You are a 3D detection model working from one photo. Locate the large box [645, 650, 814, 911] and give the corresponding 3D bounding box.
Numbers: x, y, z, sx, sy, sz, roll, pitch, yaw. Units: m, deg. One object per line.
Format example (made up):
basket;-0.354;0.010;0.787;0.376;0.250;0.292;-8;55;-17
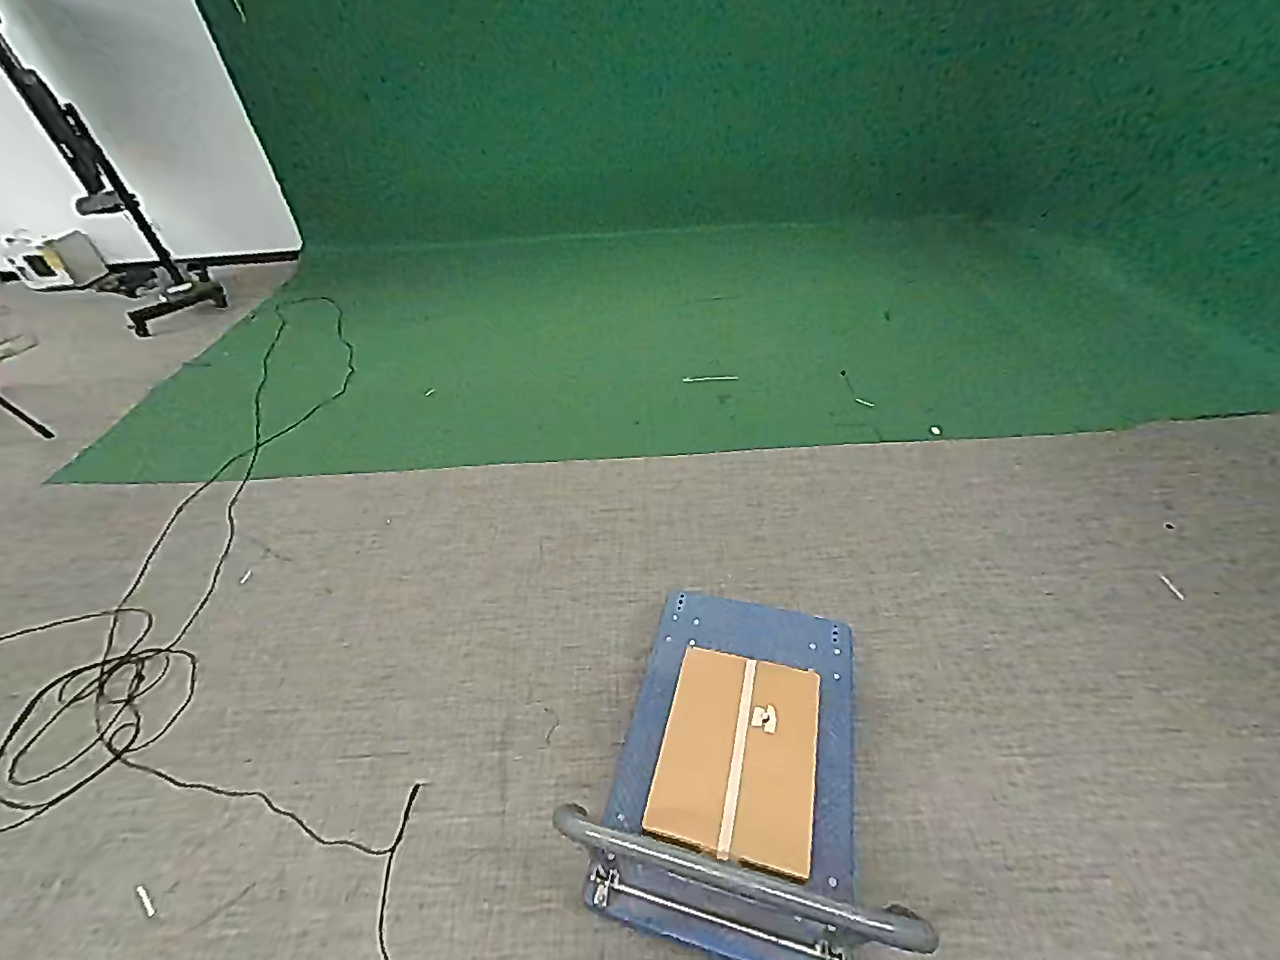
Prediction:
large box;0.214;0.674;1.242;0.320;0.320;0.408;9;42;14
